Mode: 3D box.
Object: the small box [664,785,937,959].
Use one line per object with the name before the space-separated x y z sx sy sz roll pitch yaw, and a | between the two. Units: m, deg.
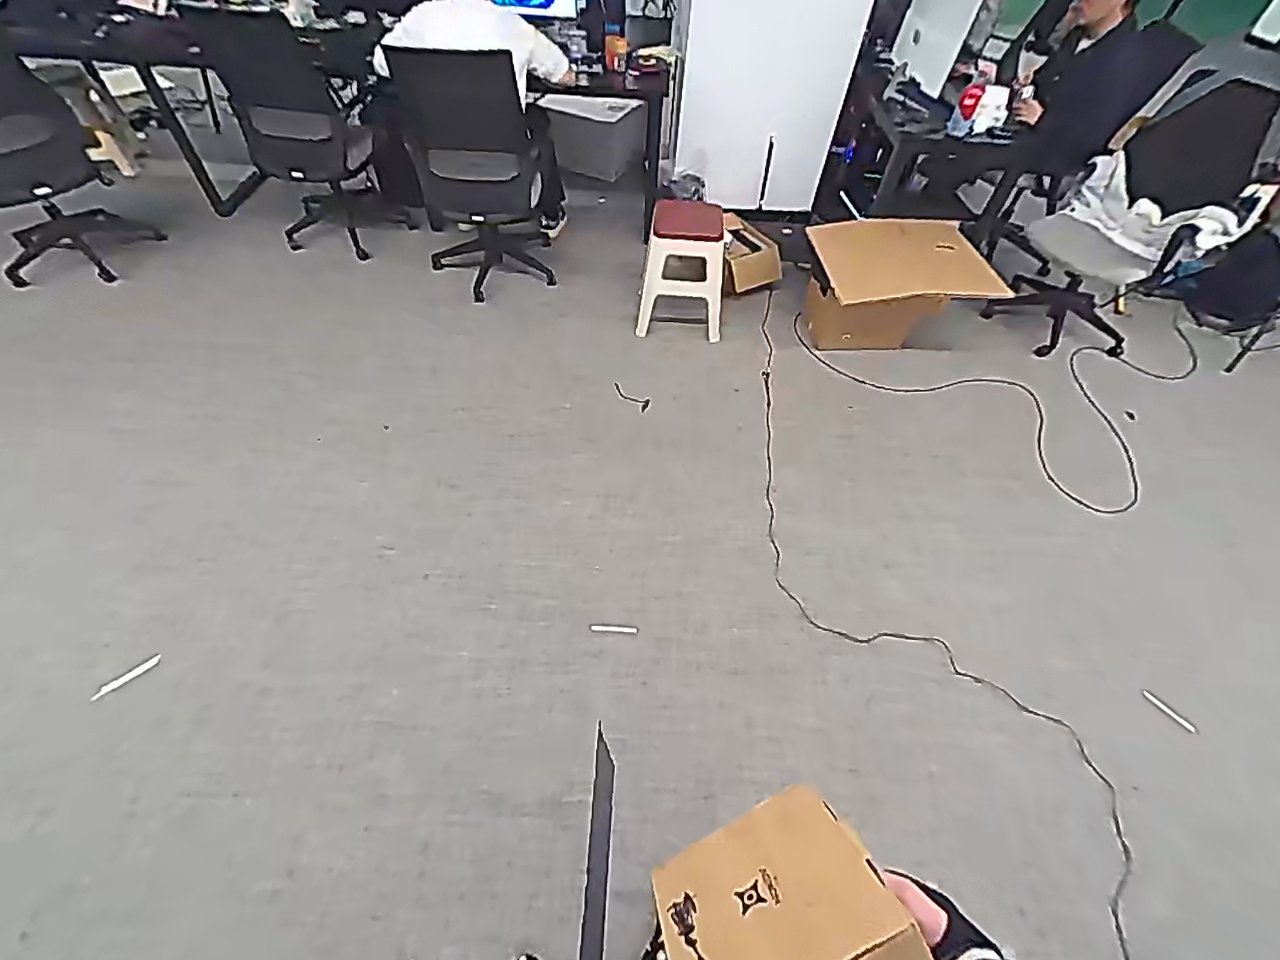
small box | 0.143 0.414 0.457 0.179 0.168 0.176 -26 95 -6
